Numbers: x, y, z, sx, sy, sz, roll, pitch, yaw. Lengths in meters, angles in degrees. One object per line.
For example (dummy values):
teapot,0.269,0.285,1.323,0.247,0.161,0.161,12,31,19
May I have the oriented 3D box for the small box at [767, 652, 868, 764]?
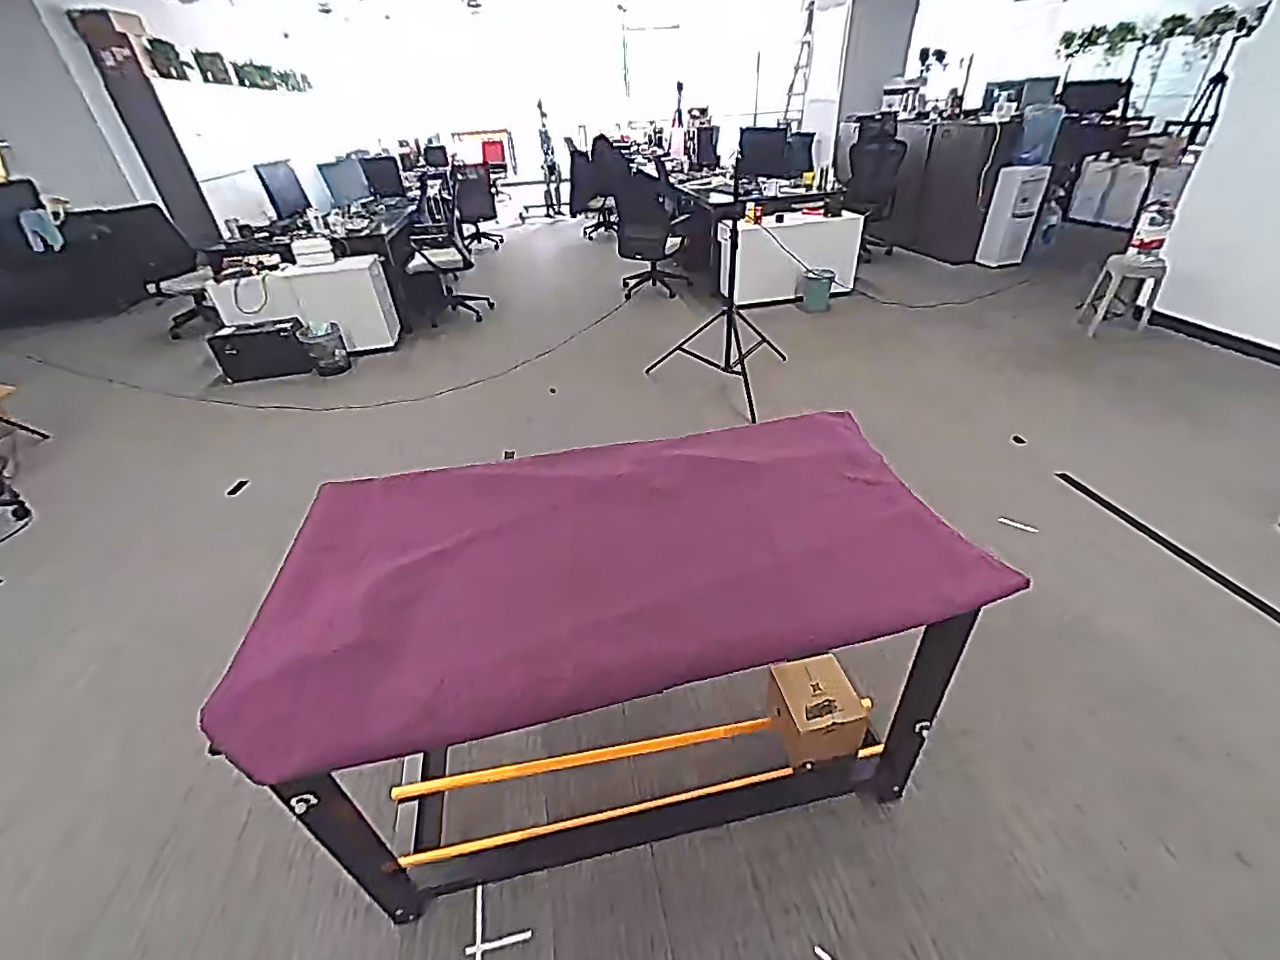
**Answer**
small box,0.411,0.545,1.282,0.168,0.176,0.179,-10,35,-6
